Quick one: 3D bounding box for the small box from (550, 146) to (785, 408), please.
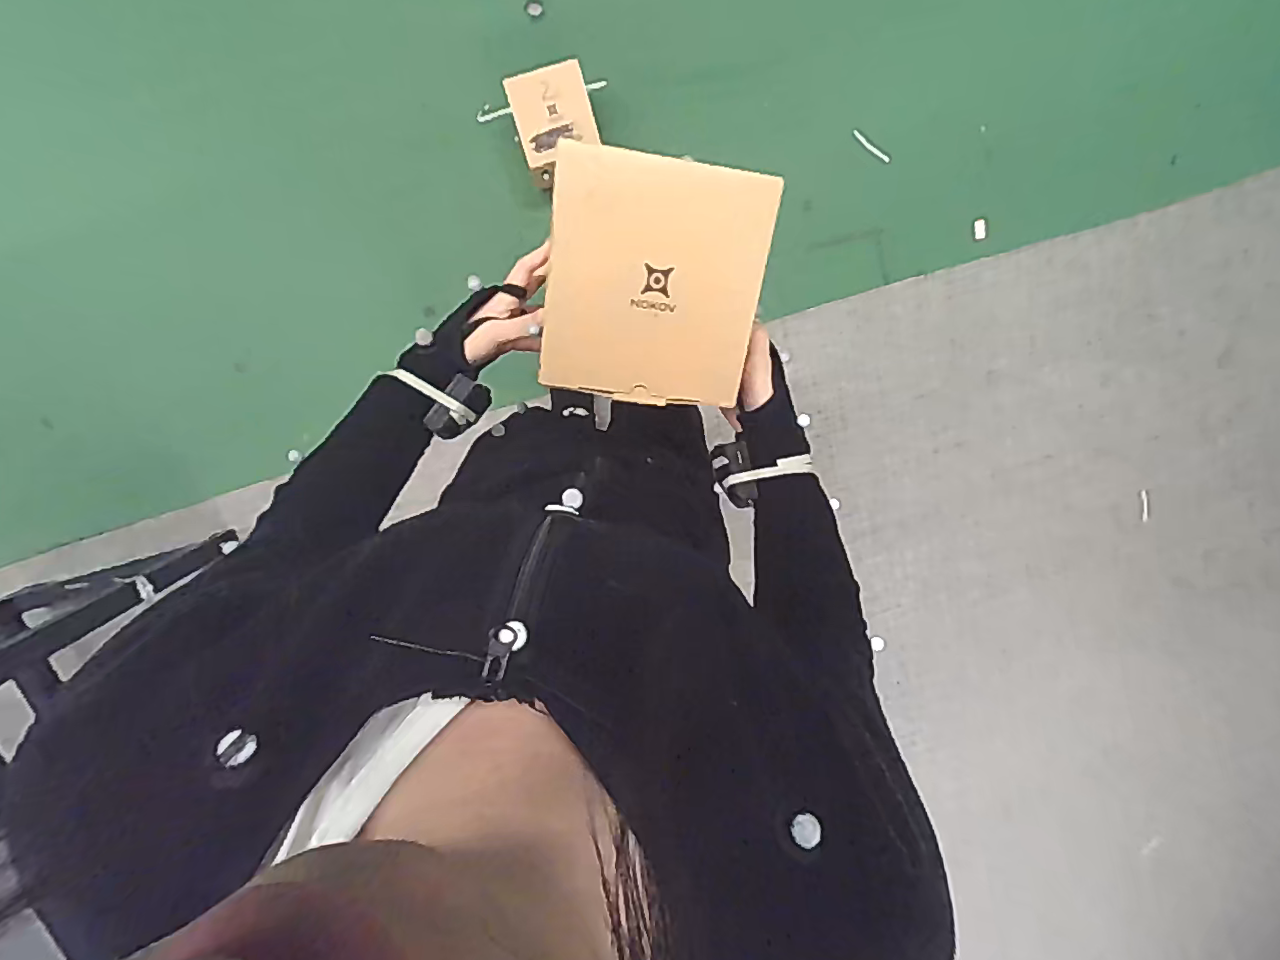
[{"bbox_3d":[0.010,-0.179,0.495,0.168,0.176,0.179,5,113,-8],"label":"small box"}]
